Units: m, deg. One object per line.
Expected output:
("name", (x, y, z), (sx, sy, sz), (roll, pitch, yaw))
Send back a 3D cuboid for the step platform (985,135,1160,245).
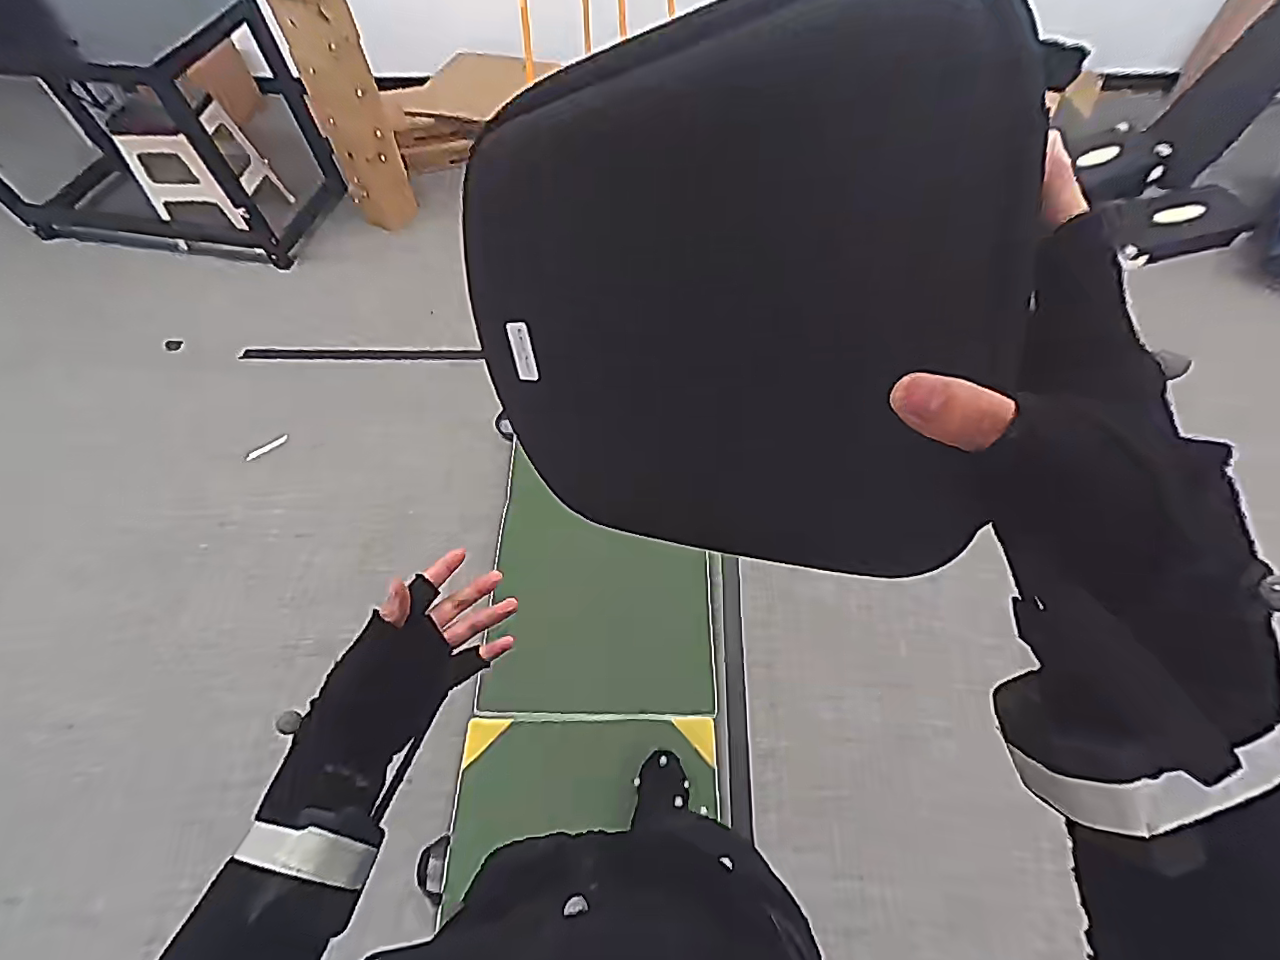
("step platform", (1.884, -1.270, 2.355), (0.684, 0.204, 0.286), (-25, 63, -13))
